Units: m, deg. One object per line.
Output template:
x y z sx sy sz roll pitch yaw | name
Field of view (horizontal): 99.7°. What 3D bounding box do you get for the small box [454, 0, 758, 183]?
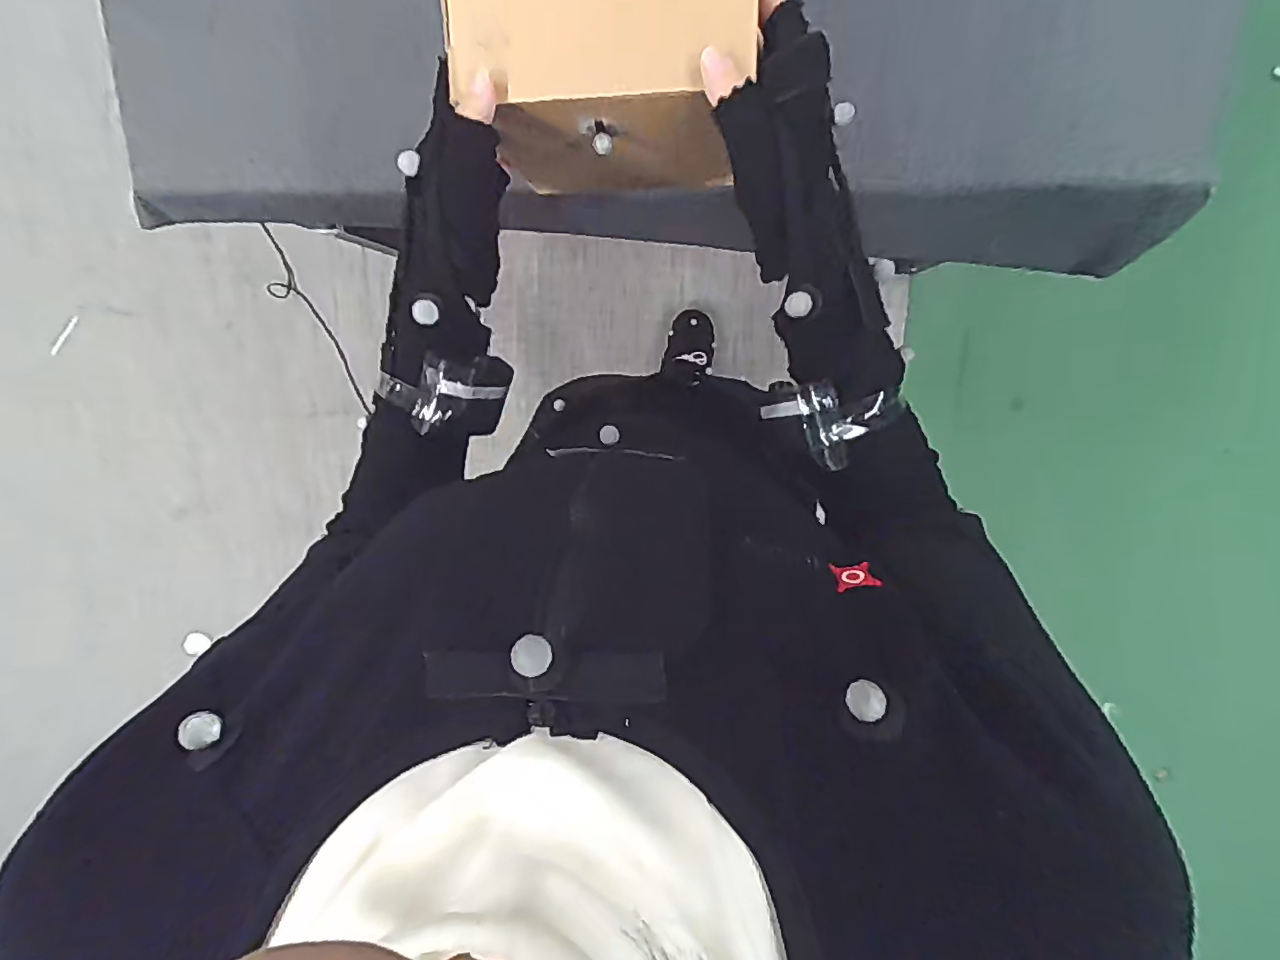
-0.011 -0.319 0.370 0.179 0.176 0.168 1 102 7 | small box
